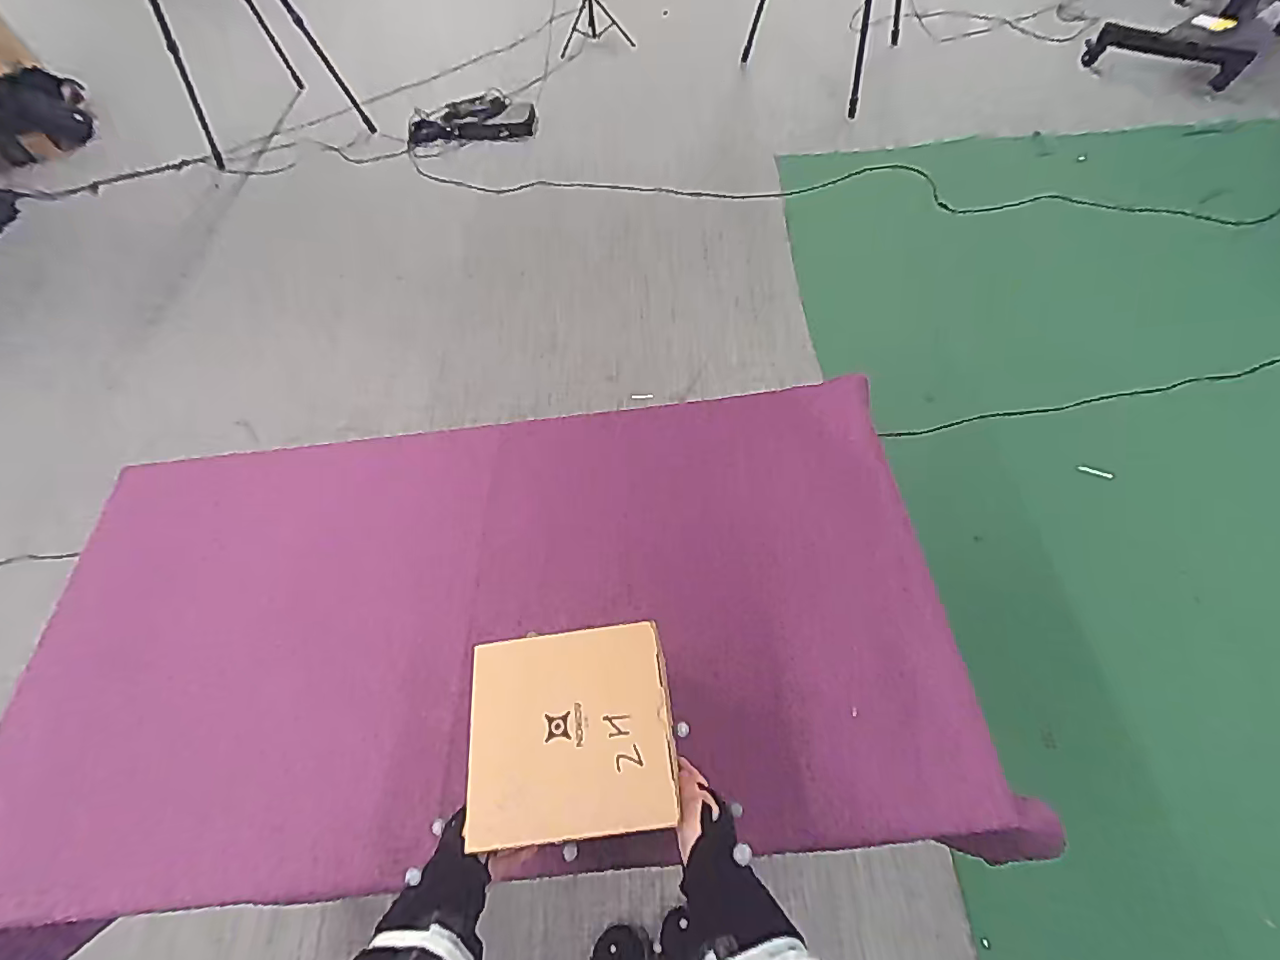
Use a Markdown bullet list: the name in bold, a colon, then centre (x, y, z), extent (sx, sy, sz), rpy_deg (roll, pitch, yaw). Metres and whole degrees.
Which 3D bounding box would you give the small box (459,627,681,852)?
- **small box**: centre (-0.058, 0.258, 0.534), extent (0.179, 0.176, 0.168), rpy_deg (-8, 59, 1)
